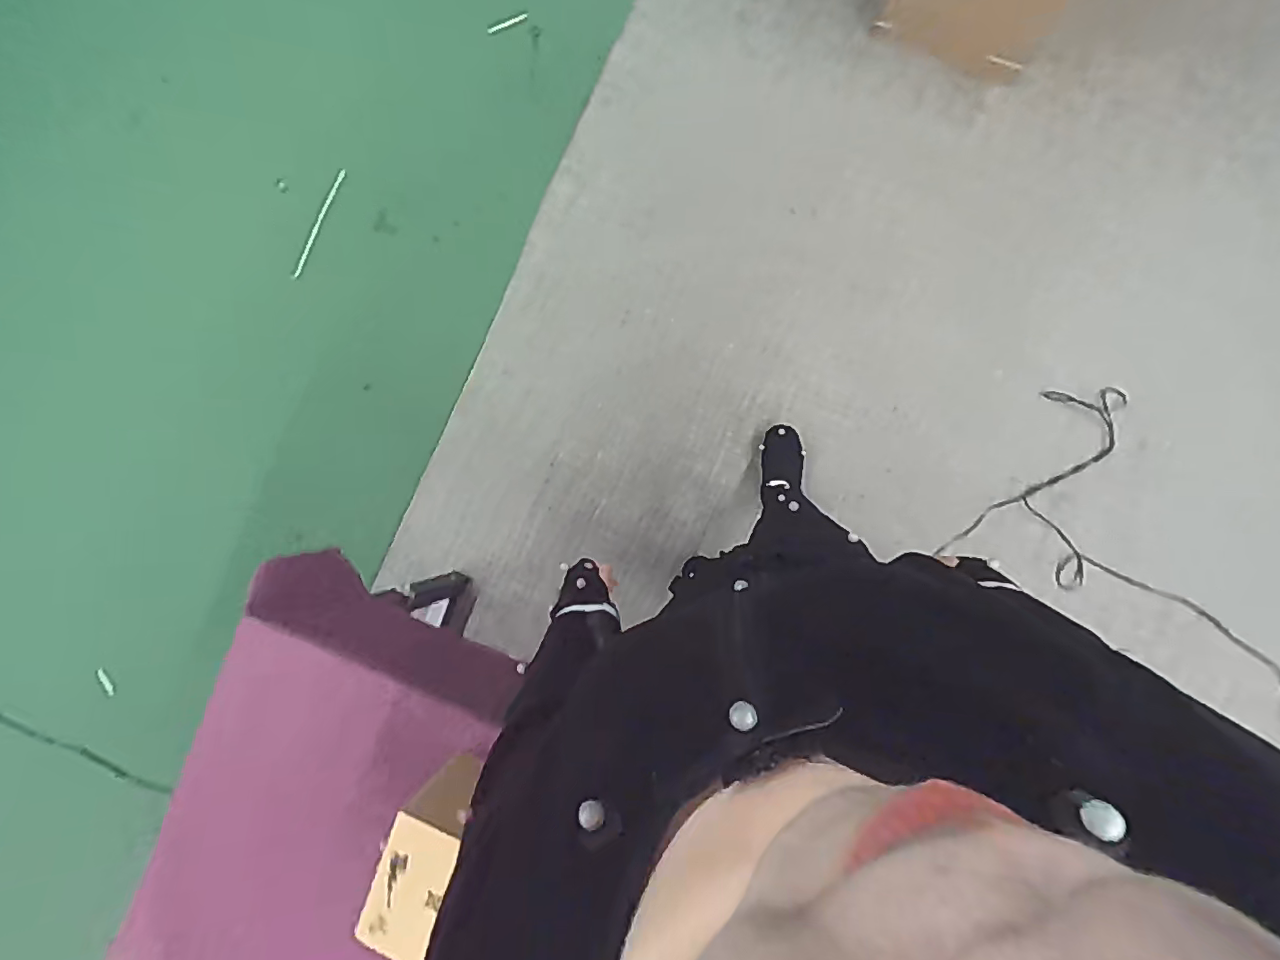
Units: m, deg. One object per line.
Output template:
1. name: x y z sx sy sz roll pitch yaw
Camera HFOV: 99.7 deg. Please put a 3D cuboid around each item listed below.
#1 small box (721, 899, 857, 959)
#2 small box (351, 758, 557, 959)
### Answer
1. small box: 0.182 0.671 0.656 0.168 0.176 0.179 21 90 8
2. small box: -0.229 0.505 0.714 0.179 0.176 0.168 20 90 7
